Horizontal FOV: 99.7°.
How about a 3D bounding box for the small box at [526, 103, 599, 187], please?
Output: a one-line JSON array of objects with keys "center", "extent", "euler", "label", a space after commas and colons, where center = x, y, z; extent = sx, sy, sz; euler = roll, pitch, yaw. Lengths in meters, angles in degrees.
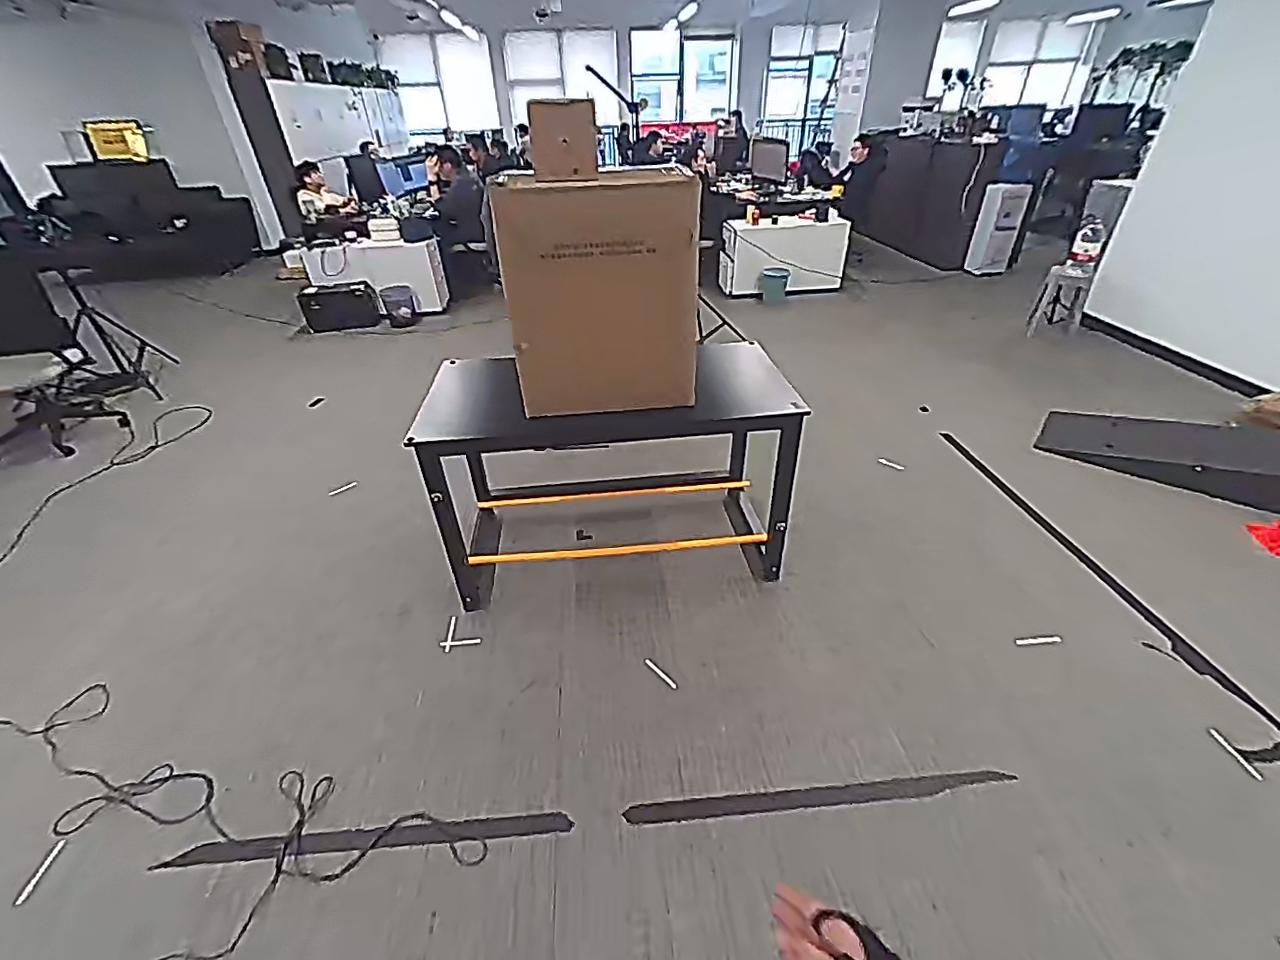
[{"center": [-0.192, -0.860, 1.391], "extent": [0.168, 0.176, 0.179], "euler": [-4, 37, -3], "label": "small box"}]
